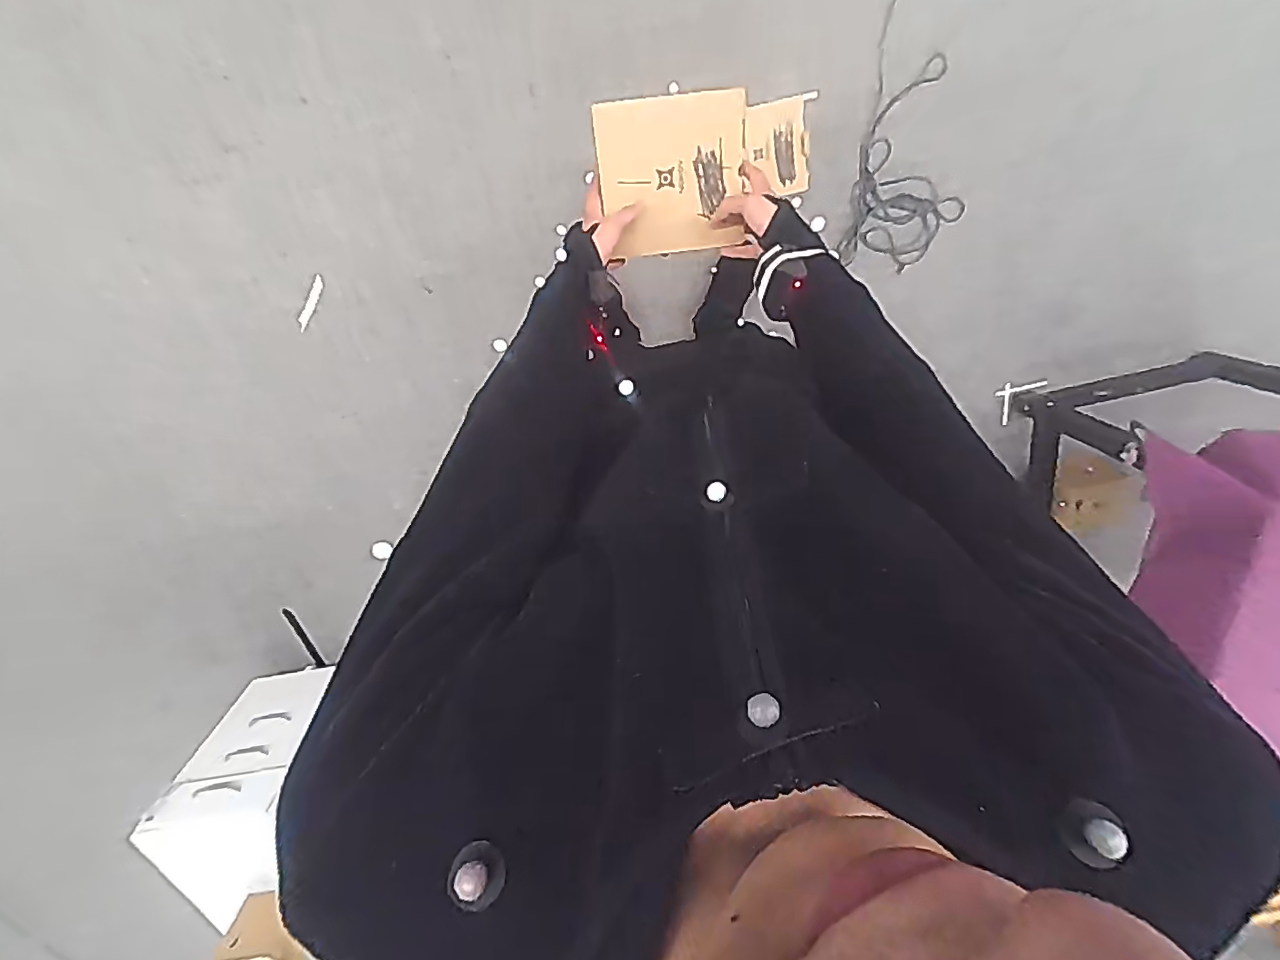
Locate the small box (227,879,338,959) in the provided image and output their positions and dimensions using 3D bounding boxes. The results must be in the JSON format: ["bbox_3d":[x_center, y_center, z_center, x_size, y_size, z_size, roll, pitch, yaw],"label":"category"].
[{"bbox_3d":[-1.027,1.300,1.569,0.179,0.176,0.168,-11,116,4],"label":"small box"}]

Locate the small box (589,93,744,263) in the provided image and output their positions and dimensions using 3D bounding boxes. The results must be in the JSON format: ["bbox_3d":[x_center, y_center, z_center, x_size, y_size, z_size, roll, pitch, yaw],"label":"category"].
[{"bbox_3d":[0.031,-0.393,0.705,0.179,0.176,0.168,-7,121,0],"label":"small box"}]

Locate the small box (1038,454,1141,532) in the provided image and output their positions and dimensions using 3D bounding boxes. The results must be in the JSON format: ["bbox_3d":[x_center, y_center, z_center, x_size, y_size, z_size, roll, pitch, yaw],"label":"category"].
[{"bbox_3d":[1.394,0.035,1.688,0.179,0.176,0.168,-14,114,4],"label":"small box"}]
